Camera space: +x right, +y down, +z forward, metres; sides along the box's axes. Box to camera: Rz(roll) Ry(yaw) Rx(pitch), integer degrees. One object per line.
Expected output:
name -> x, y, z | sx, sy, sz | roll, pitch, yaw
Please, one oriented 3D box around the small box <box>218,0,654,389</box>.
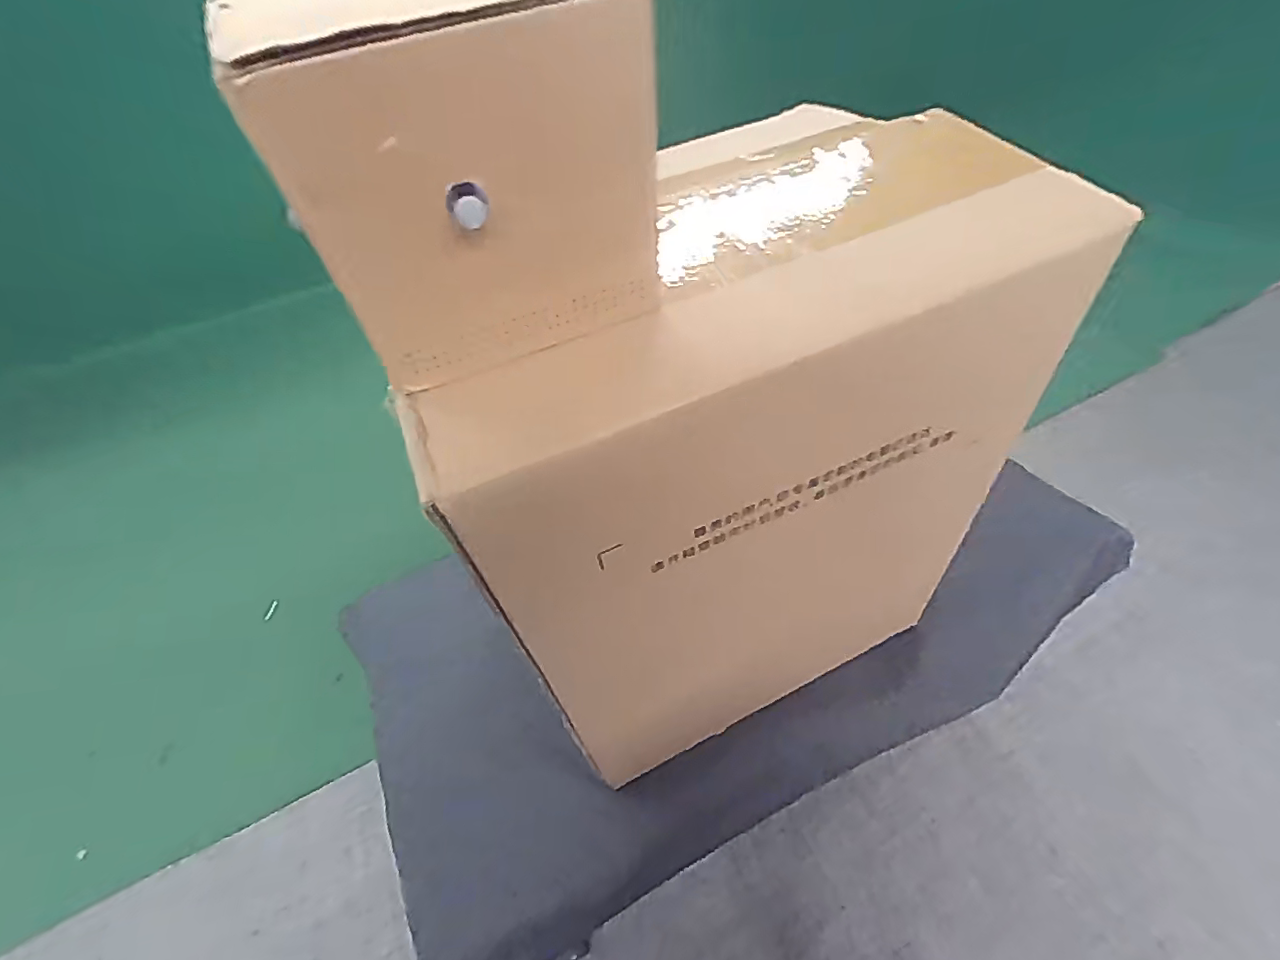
small box -> -0.103, -0.183, 0.322 | 0.179, 0.176, 0.168 | -23, 57, -11
